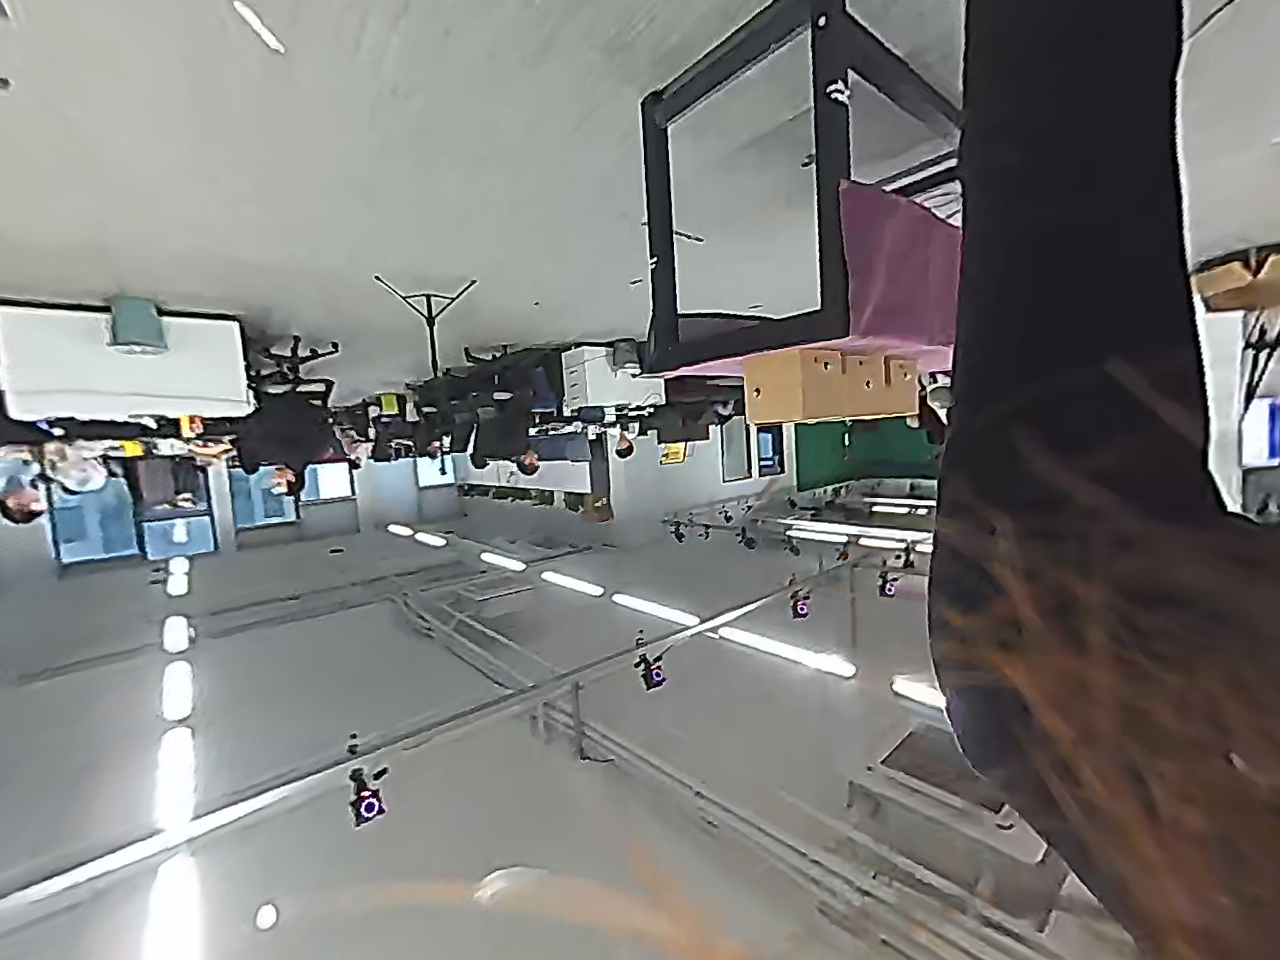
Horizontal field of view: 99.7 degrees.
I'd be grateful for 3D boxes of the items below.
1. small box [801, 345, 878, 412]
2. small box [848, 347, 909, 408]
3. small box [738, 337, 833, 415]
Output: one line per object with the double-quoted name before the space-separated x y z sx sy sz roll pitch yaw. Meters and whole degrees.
"small box" 0.548 -0.288 1.540 0.168 0.176 0.179 -8 -174 -32
"small box" 0.730 -0.321 1.715 0.168 0.176 0.179 -9 -174 -37
"small box" 0.360 -0.254 1.346 0.168 0.176 0.179 -10 -172 -37
